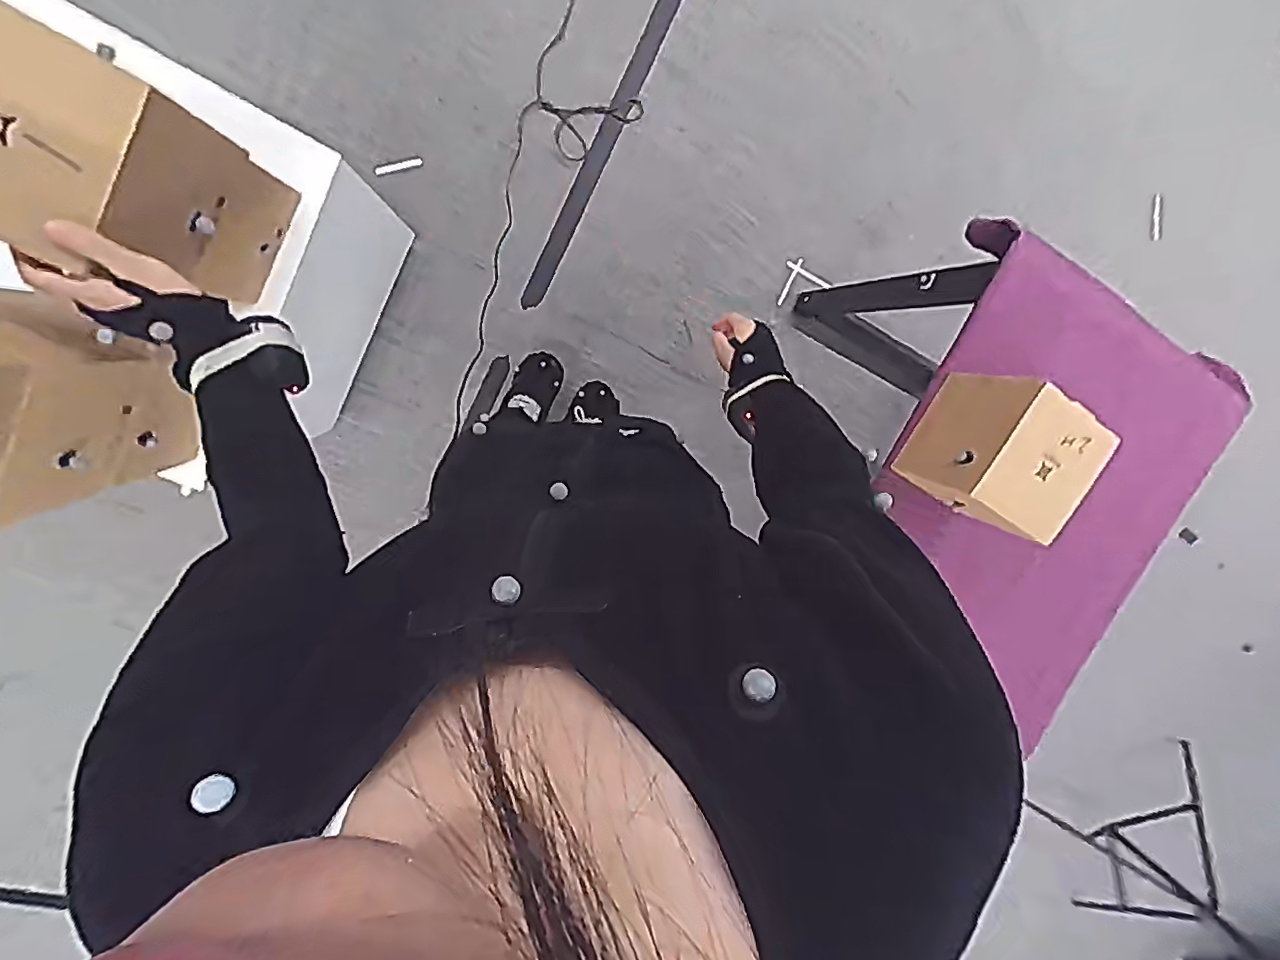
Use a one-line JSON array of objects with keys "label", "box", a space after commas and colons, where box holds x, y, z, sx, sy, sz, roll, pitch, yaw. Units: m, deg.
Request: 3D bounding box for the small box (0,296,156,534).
[{"label": "small box", "box": [-0.618, -0.074, 0.507, 0.179, 0.176, 0.168, 24, 98, -16]}]

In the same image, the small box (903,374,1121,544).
[{"label": "small box", "box": [0.526, -0.039, 0.795, 0.168, 0.176, 0.179, 28, 96, -18]}]

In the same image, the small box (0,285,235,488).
[{"label": "small box", "box": [-0.654, -0.113, 0.660, 0.179, 0.176, 0.168, 25, 98, -16]}]
